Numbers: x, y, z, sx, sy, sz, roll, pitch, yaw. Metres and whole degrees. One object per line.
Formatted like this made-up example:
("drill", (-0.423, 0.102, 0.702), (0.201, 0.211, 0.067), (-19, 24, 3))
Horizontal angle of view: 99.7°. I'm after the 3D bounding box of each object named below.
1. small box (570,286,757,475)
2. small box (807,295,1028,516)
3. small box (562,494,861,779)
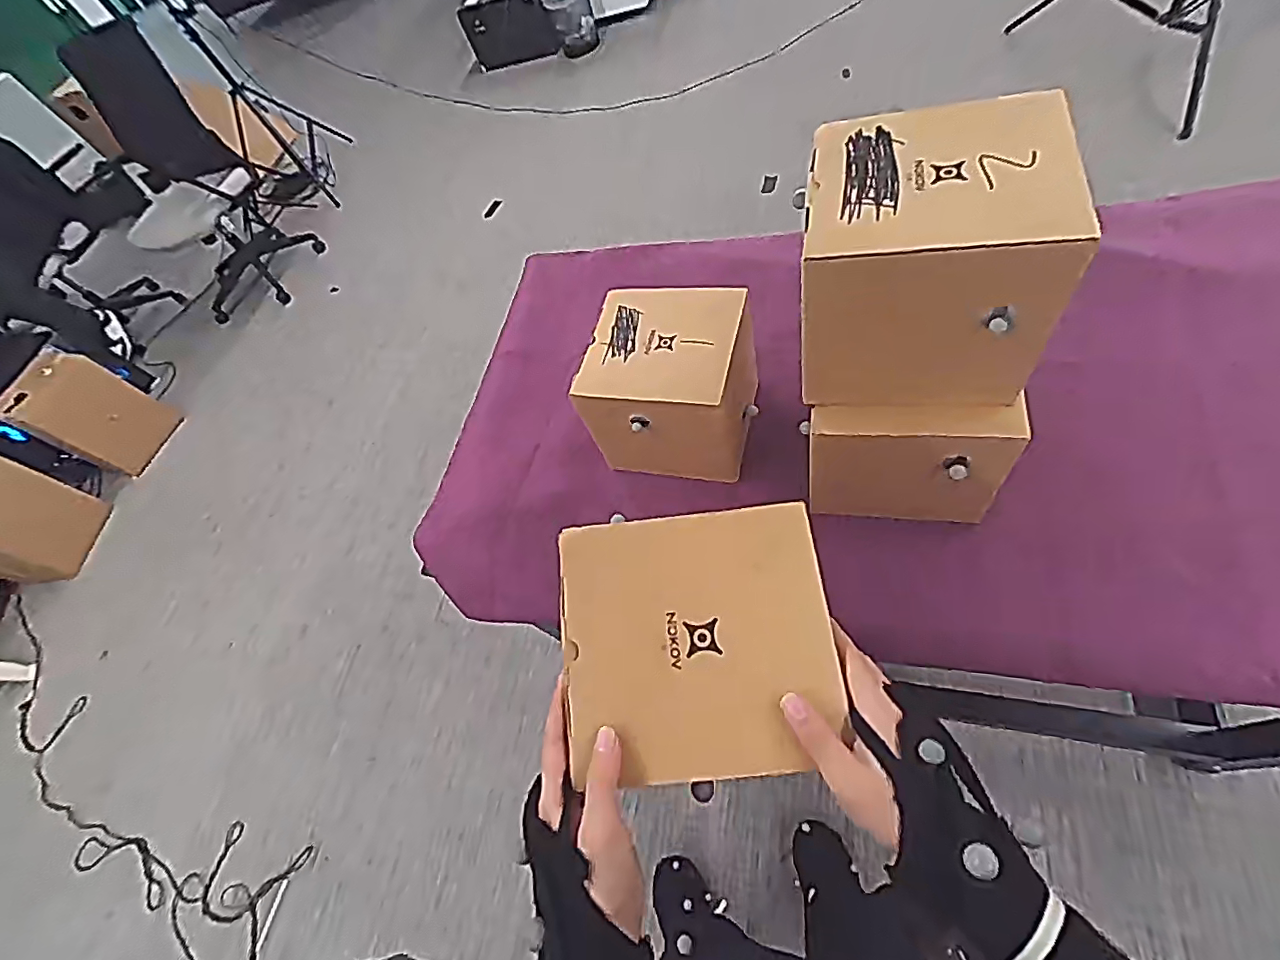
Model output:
("small box", (0.042, -0.120, 0.676), (0.179, 0.176, 0.168), (7, 63, 20))
("small box", (0.276, -0.072, 0.575), (0.179, 0.176, 0.168), (3, 61, 19))
("small box", (0.045, 0.122, 0.423), (0.179, 0.176, 0.168), (-8, 69, 3))
